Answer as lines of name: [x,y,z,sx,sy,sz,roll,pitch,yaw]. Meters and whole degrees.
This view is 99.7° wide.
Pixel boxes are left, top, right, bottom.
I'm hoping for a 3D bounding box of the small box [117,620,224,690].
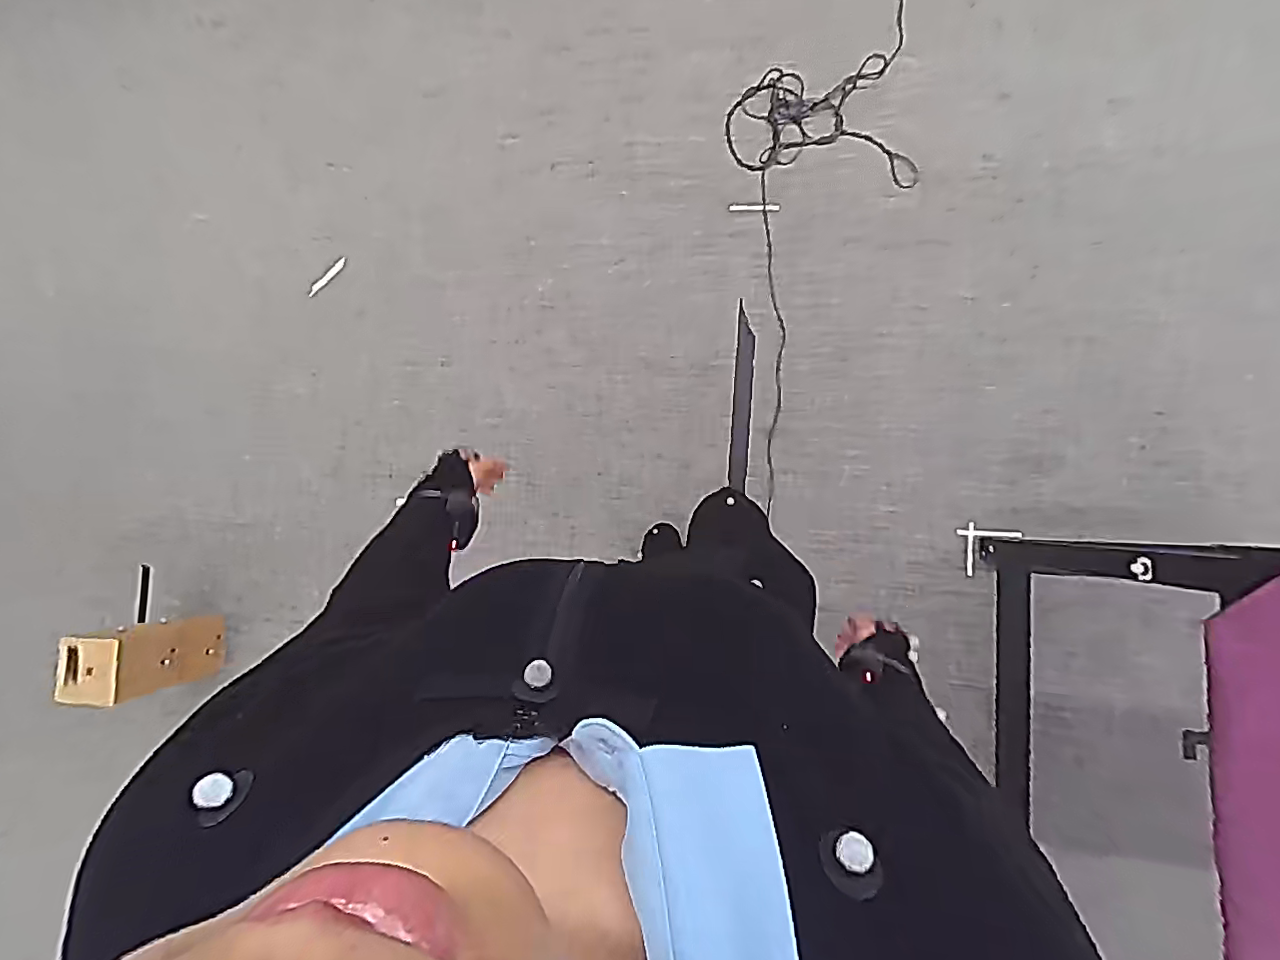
small box: [-1.383,0.512,1.598,0.179,0.176,0.168,-2,86,7]
